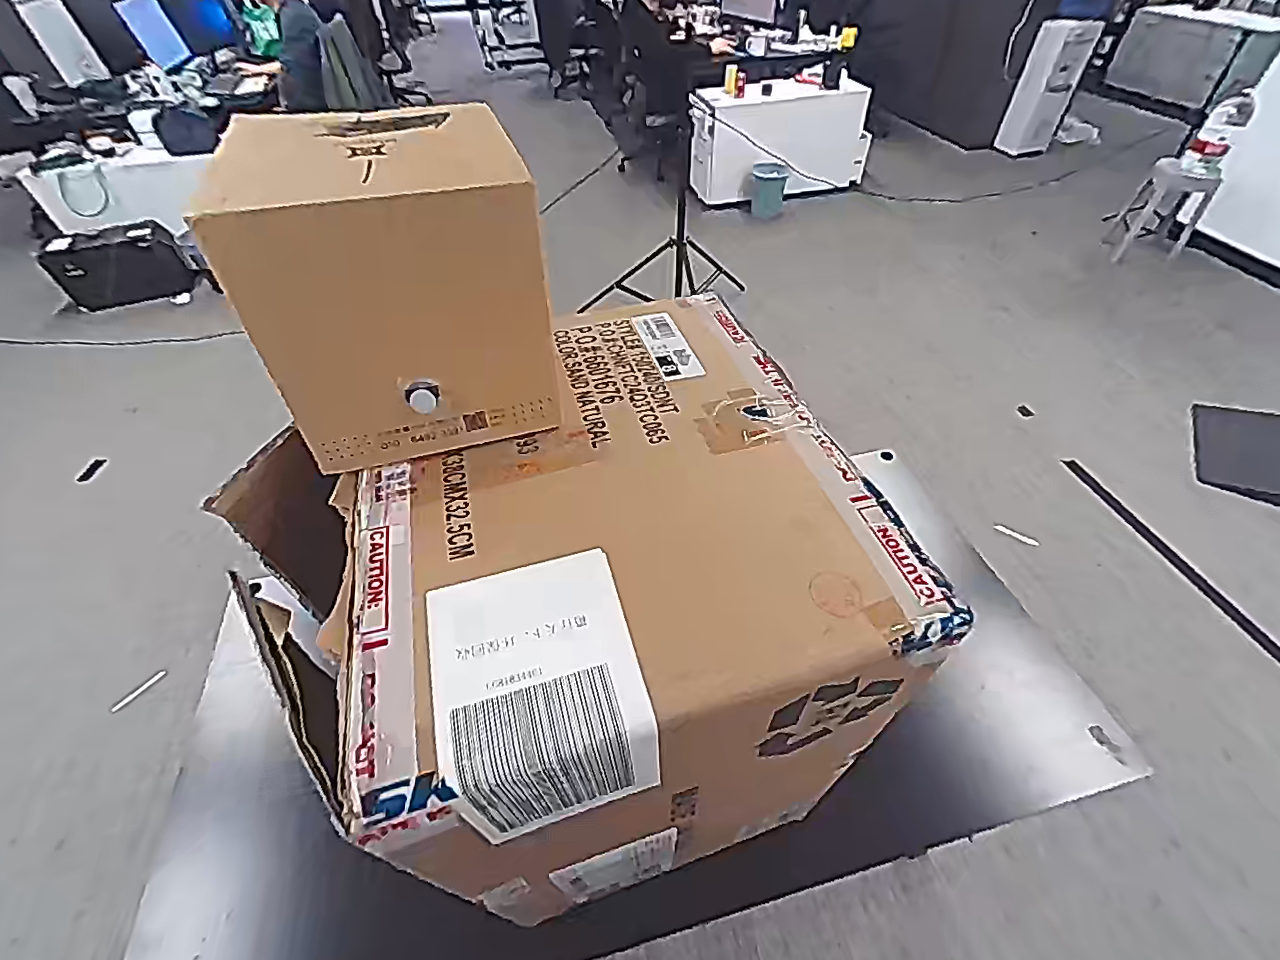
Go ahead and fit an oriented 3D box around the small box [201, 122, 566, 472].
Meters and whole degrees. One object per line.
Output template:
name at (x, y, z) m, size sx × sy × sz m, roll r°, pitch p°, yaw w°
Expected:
small box at (-0.155, -0.133, 0.382) m, size 0.168 × 0.176 × 0.179 m, roll -14°, pitch 47°, yaw -14°
